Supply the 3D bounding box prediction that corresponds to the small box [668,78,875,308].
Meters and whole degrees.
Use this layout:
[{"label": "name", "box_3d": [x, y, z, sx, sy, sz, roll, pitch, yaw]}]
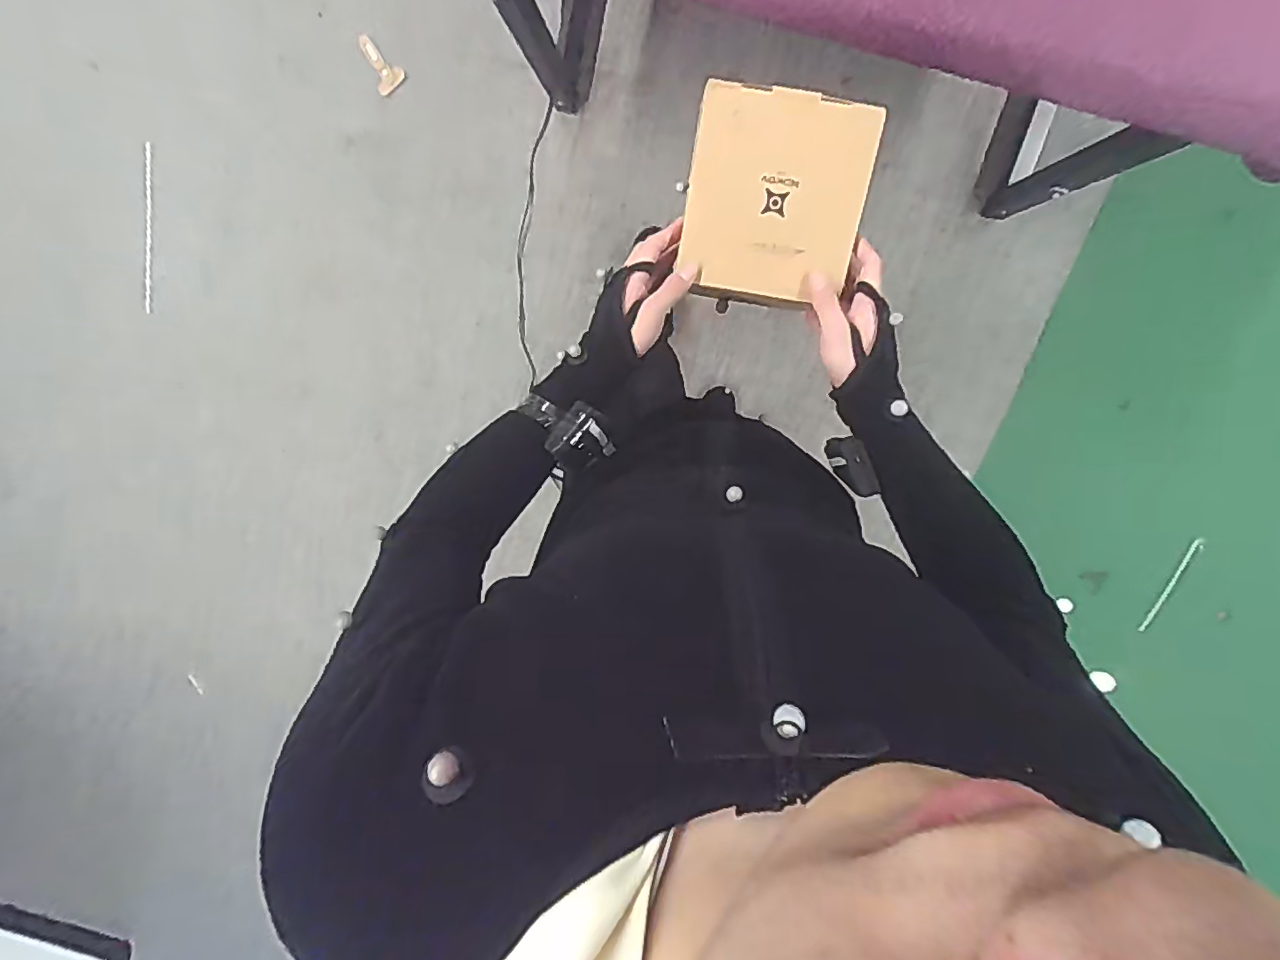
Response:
[{"label": "small box", "box_3d": [0.125, -0.291, 0.589, 0.168, 0.176, 0.179, 10, 107, 1]}]
